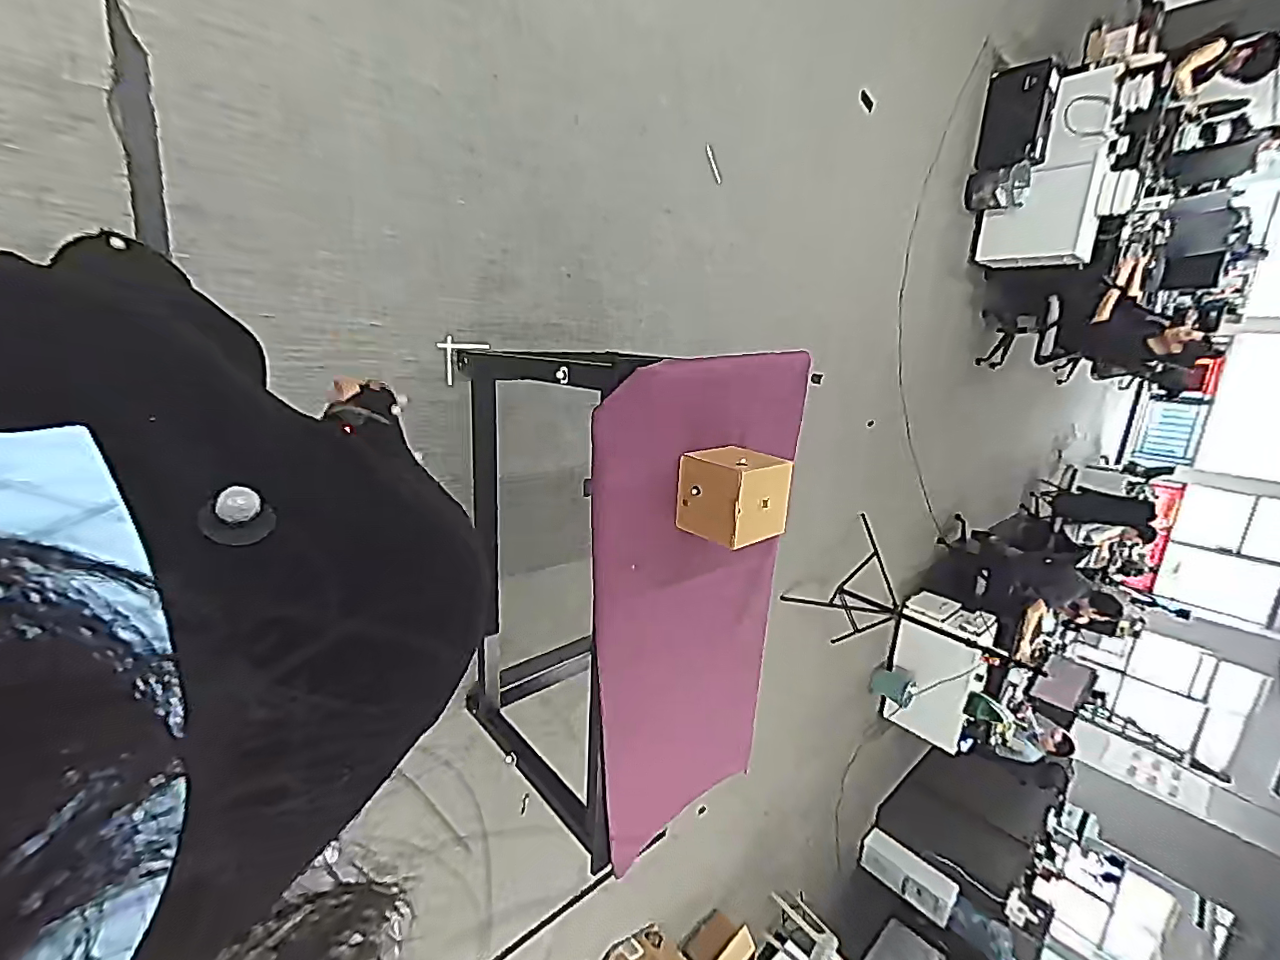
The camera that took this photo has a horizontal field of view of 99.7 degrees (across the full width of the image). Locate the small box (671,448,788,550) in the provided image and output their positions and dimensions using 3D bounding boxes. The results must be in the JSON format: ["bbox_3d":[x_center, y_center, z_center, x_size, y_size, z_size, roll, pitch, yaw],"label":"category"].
[{"bbox_3d":[0.192,0.031,1.175,0.179,0.176,0.168,-11,111,-40],"label":"small box"}]
